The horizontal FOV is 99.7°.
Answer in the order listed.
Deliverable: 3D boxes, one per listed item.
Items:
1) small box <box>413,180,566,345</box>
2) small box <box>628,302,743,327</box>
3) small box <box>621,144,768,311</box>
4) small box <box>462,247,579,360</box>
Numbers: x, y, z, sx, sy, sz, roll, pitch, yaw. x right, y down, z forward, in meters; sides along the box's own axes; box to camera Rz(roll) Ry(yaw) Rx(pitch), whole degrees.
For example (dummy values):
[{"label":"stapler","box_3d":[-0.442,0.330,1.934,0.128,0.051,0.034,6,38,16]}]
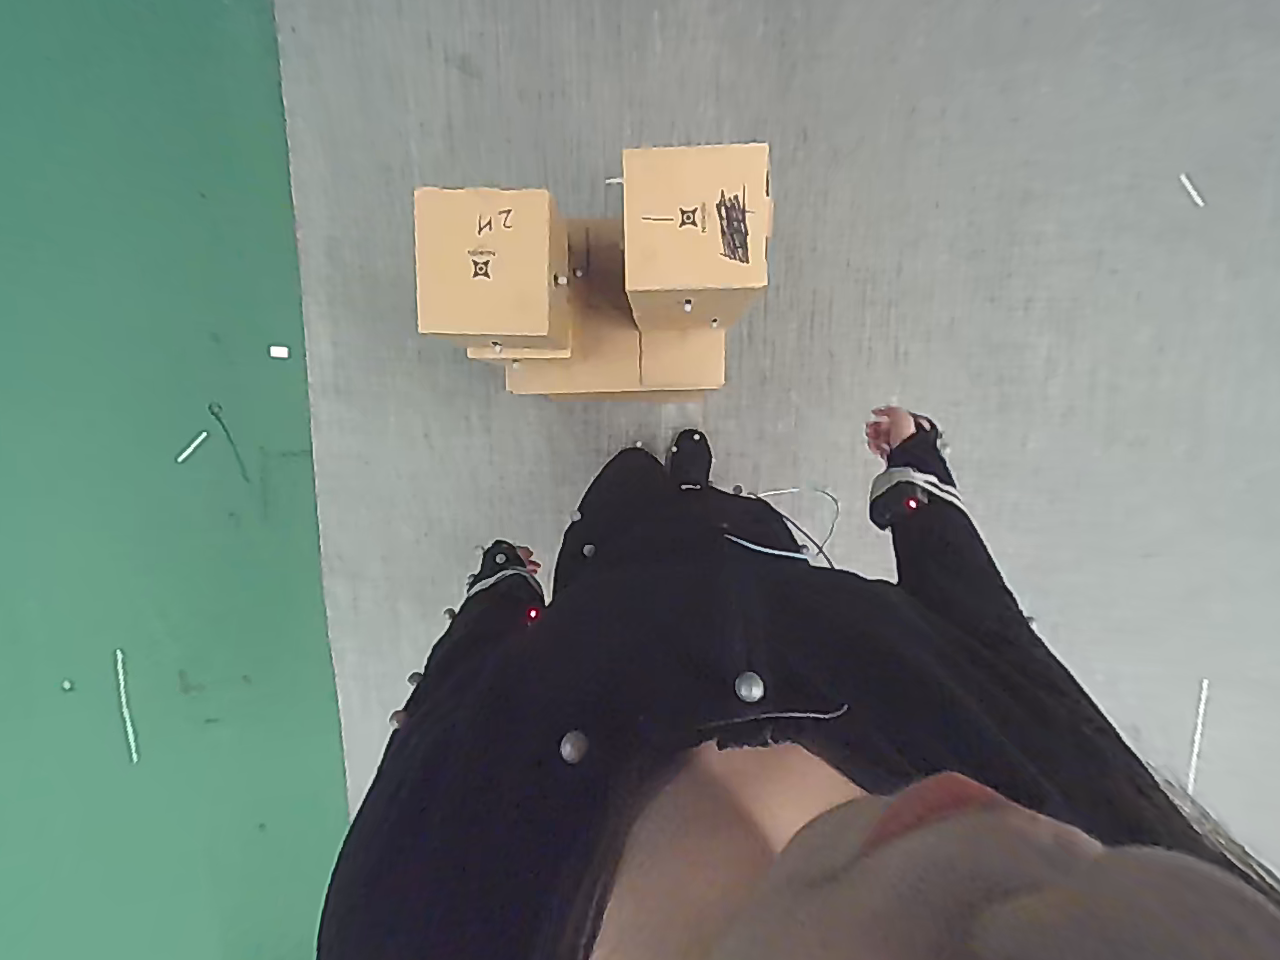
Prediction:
[{"label":"small box","box_3d":[-0.195,-0.283,0.740,0.168,0.176,0.179,3,99,0]},{"label":"small box","box_3d":[0.071,-0.350,0.892,0.179,0.176,0.168,-1,98,3]},{"label":"small box","box_3d":[0.067,-0.327,0.729,0.179,0.176,0.168,1,98,3]},{"label":"small box","box_3d":[-0.193,-0.294,0.905,0.168,0.176,0.179,1,98,0]}]
